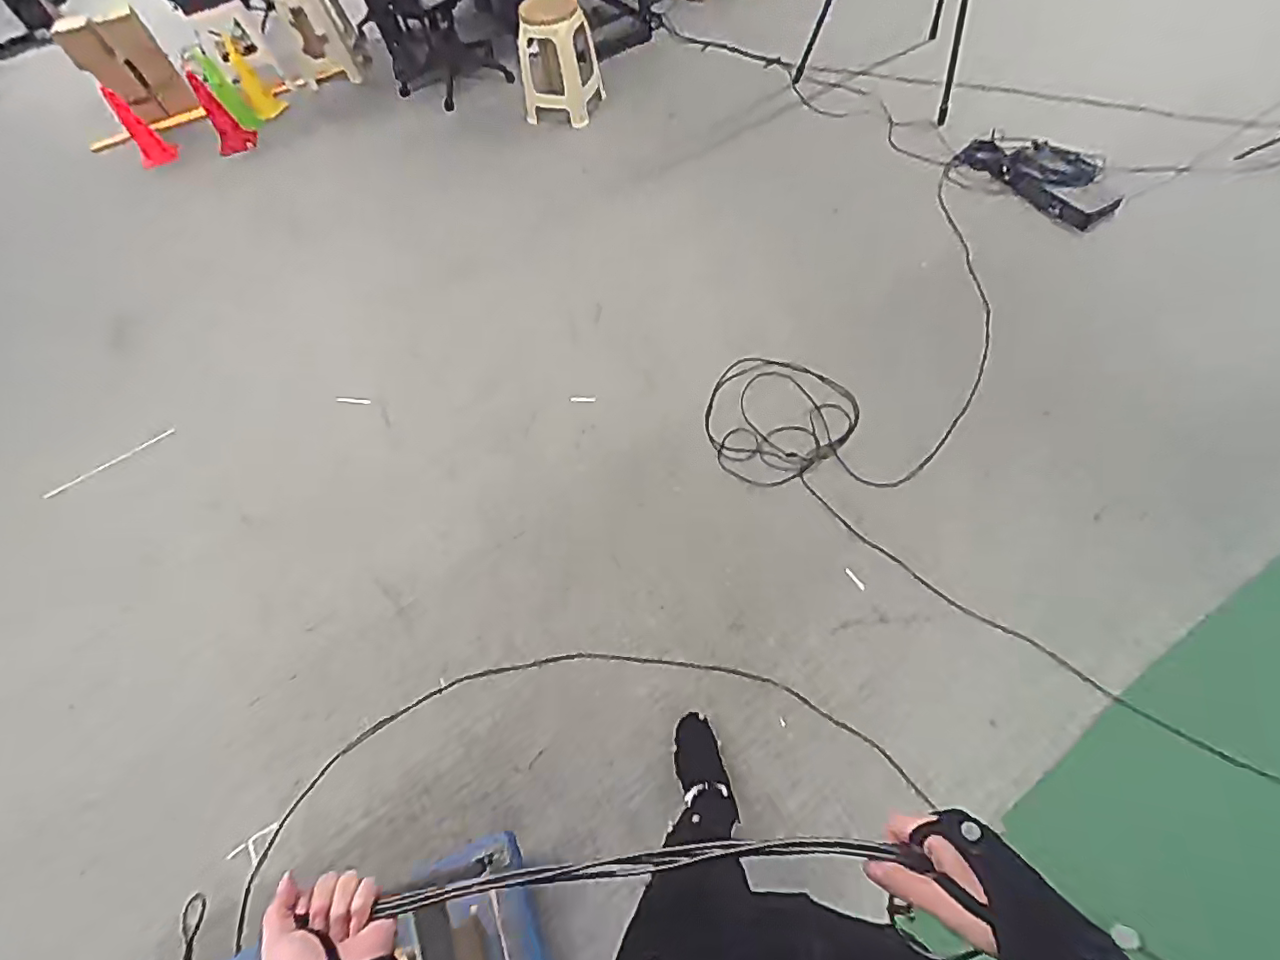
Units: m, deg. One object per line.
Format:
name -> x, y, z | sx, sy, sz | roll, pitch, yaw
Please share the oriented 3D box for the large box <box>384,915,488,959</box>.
large box -> -0.465, 1.014, 0.886 | 0.408, 0.320, 0.320 | -23, 61, -6
